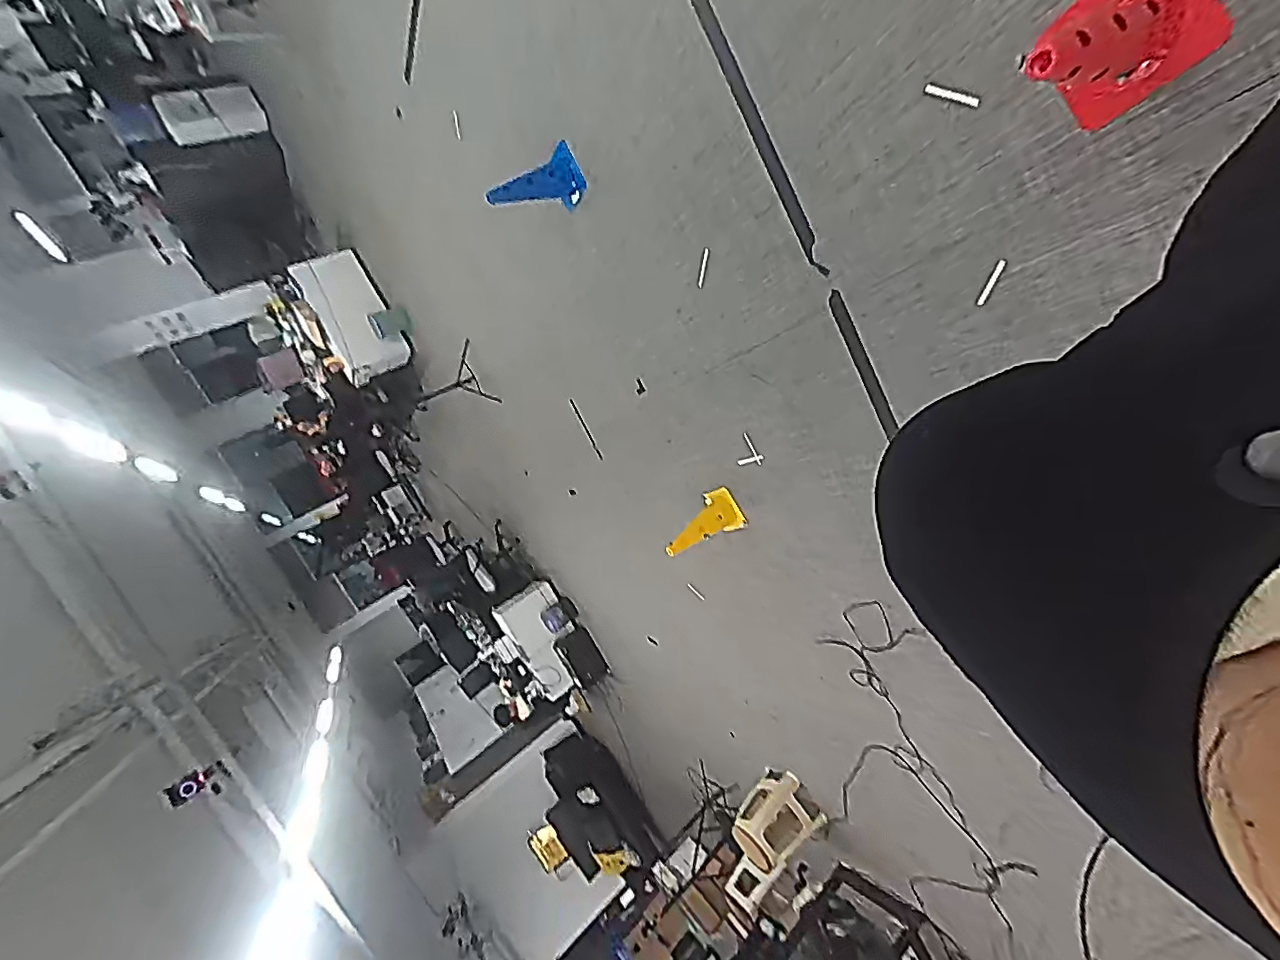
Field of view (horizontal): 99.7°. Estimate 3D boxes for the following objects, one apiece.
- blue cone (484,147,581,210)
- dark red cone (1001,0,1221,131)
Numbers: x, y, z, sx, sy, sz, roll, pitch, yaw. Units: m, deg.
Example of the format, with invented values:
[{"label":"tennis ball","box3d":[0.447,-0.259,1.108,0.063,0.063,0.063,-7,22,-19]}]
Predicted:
[{"label":"blue cone","box3d":[-0.430,-1.136,2.104,0.193,0.380,0.192,62,153,-9]},{"label":"dark red cone","box3d":[0.647,-0.639,0.803,0.202,0.394,0.201,58,154,-1]}]
